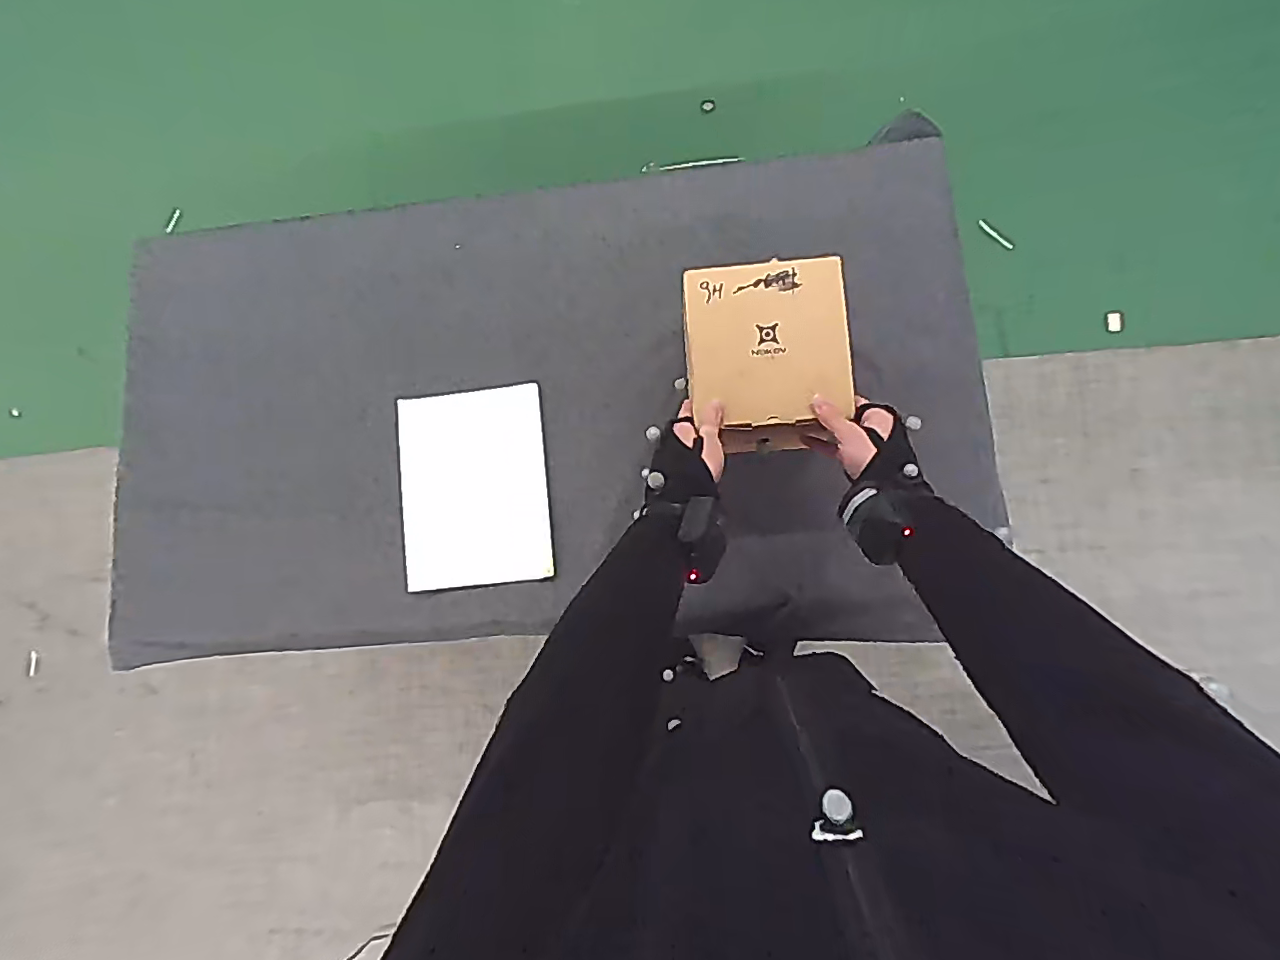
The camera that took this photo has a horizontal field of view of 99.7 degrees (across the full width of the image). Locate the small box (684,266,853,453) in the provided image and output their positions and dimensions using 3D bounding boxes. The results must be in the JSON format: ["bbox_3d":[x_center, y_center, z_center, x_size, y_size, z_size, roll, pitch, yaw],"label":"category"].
[{"bbox_3d":[0.140,-0.127,0.643,0.168,0.176,0.179,-4,85,4],"label":"small box"}]
